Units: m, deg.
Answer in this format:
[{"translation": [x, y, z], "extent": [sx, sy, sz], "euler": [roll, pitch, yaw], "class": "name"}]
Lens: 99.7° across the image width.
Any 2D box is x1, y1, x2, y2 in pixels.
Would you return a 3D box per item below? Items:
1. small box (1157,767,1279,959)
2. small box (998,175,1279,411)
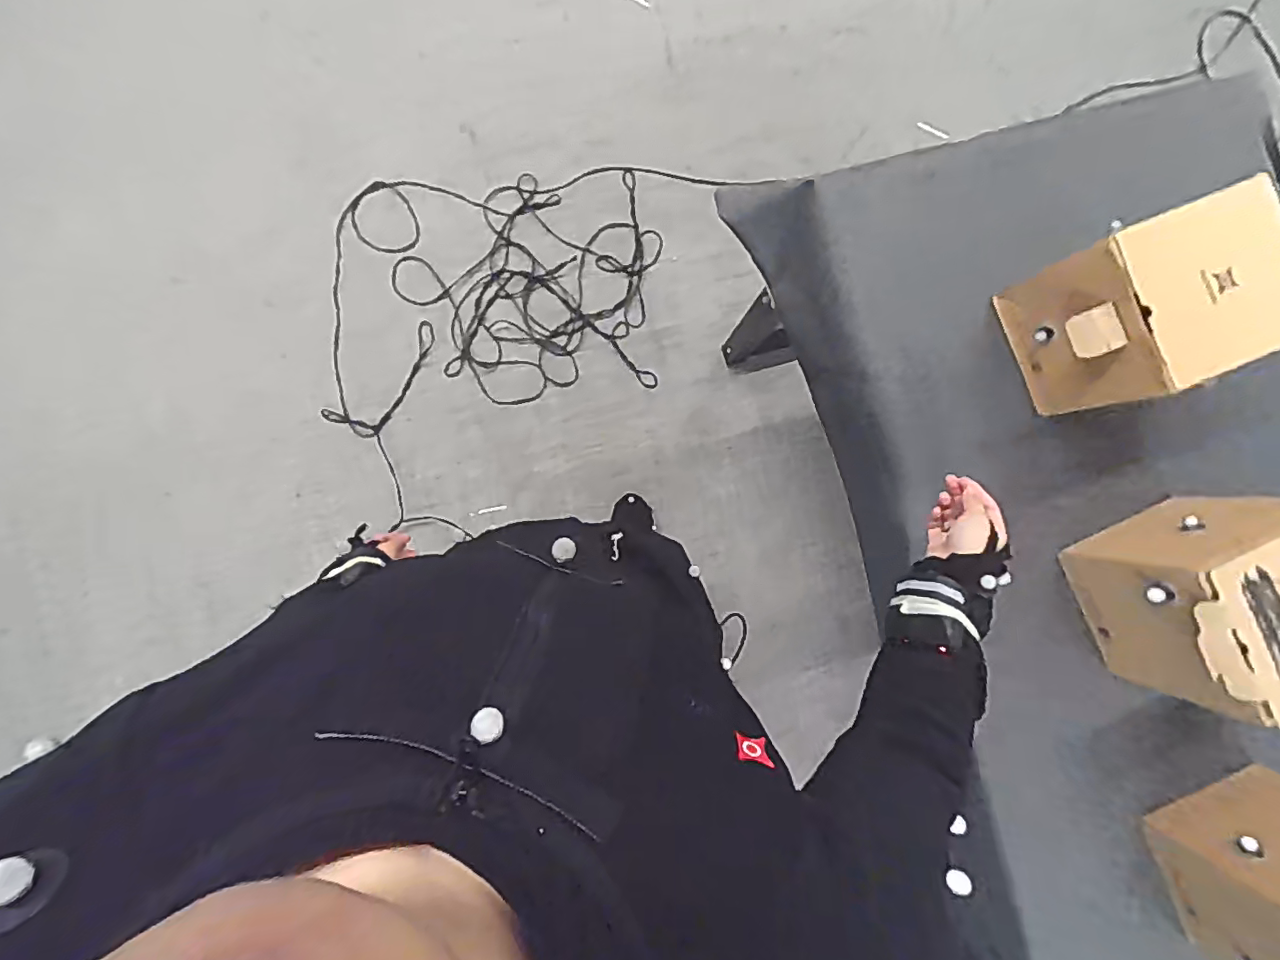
[{"translation": [0.731, 0.460, 0.593], "extent": [0.179, 0.176, 0.168], "euler": [-23, 91, -5], "class": "small box"}, {"translation": [0.554, -0.190, 0.599], "extent": [0.179, 0.176, 0.168], "euler": [-23, 90, -3], "class": "small box"}]
